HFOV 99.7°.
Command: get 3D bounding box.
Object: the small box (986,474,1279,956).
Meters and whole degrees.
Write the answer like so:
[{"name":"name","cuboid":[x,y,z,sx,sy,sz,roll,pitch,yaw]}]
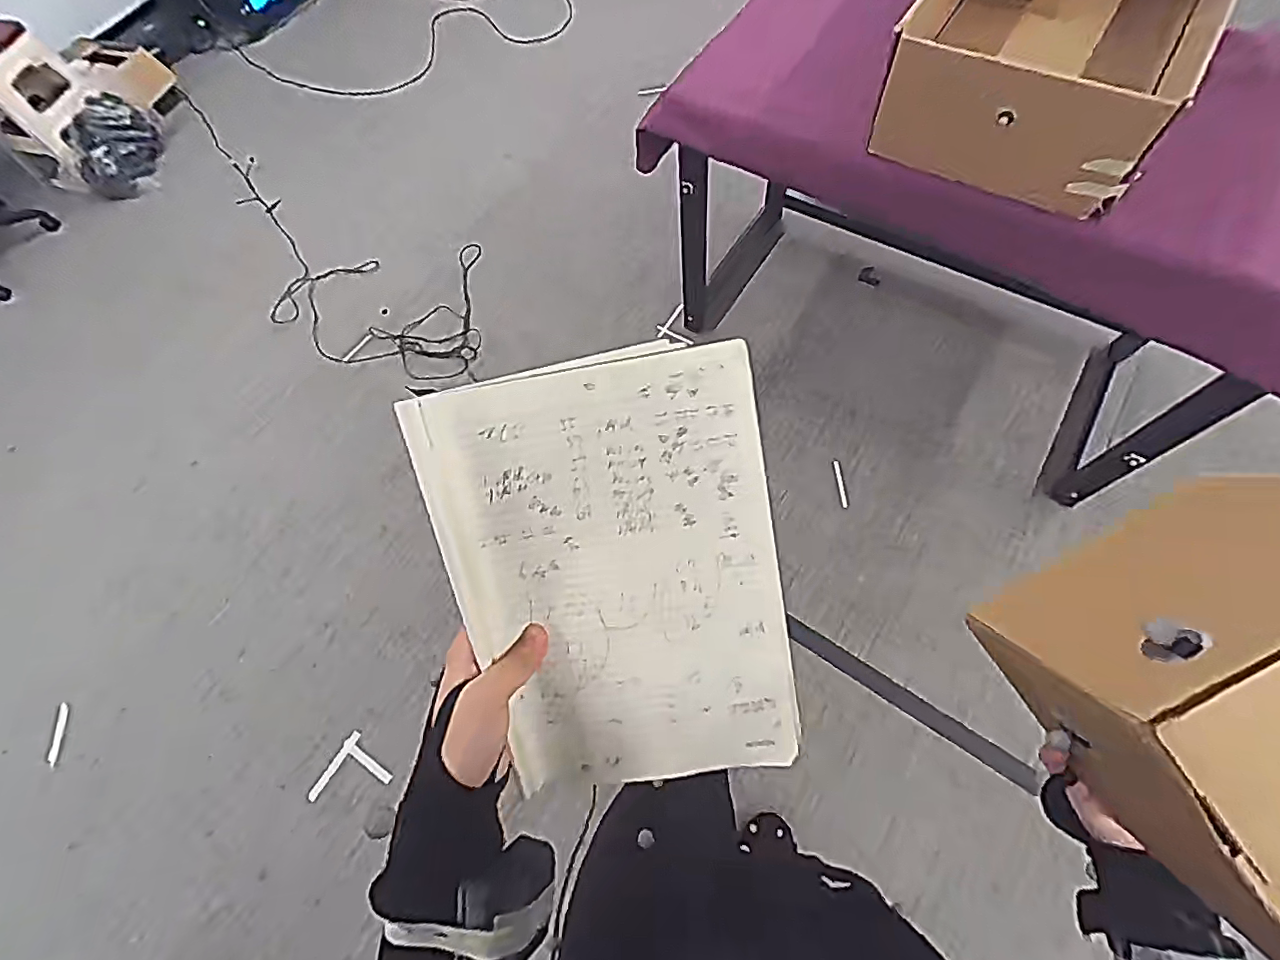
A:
[{"name":"small box","cuboid":[0.329,0.108,0.272,0.179,0.176,0.168,-35,87,9]}]
